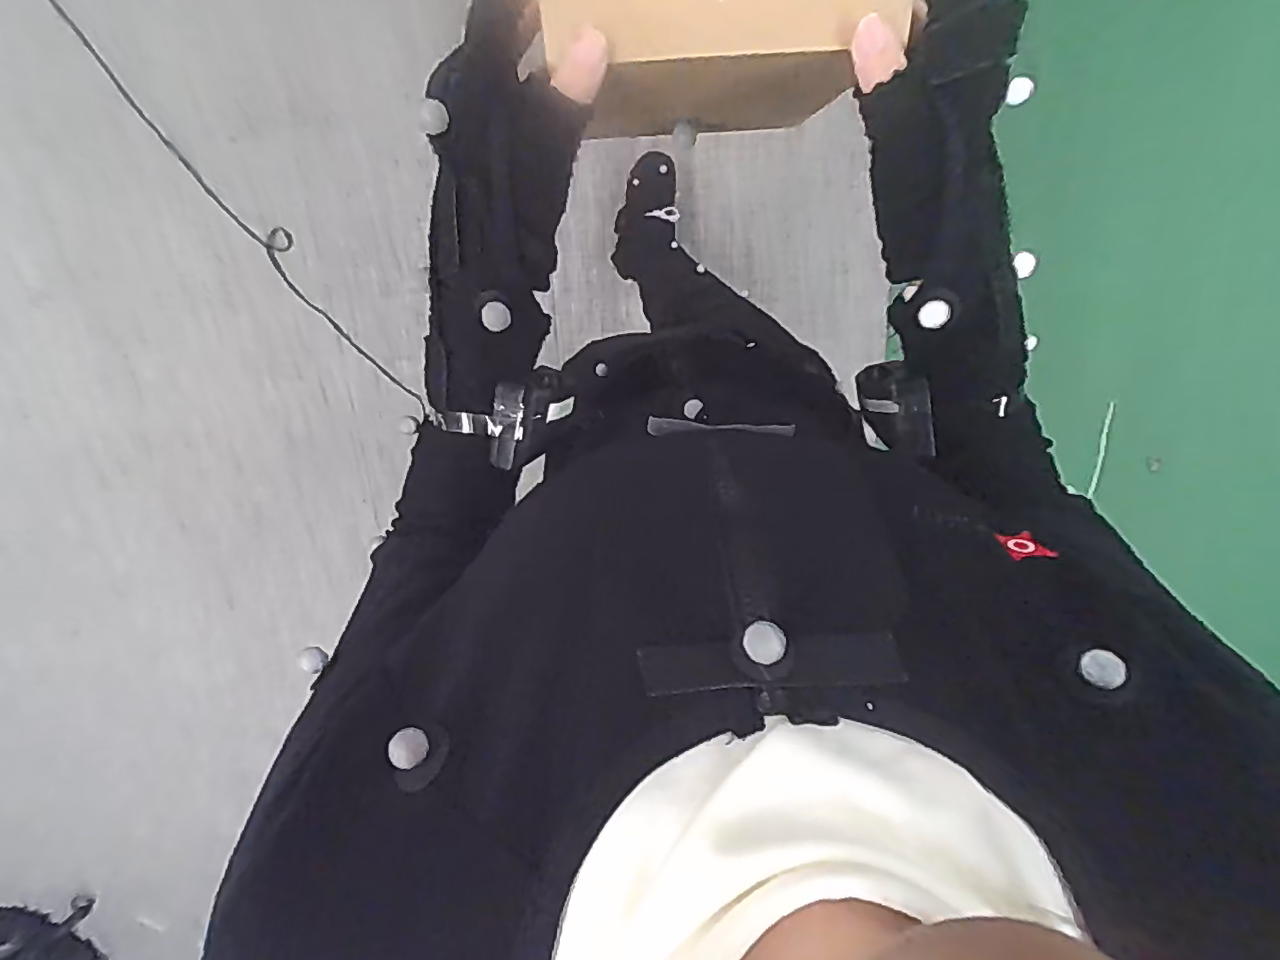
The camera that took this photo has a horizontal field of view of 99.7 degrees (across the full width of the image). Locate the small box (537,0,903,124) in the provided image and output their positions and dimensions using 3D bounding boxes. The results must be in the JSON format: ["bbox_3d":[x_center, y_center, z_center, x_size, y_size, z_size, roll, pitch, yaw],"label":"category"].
[{"bbox_3d":[0.030,-0.310,0.284,0.168,0.176,0.179,-3,113,0],"label":"small box"}]
